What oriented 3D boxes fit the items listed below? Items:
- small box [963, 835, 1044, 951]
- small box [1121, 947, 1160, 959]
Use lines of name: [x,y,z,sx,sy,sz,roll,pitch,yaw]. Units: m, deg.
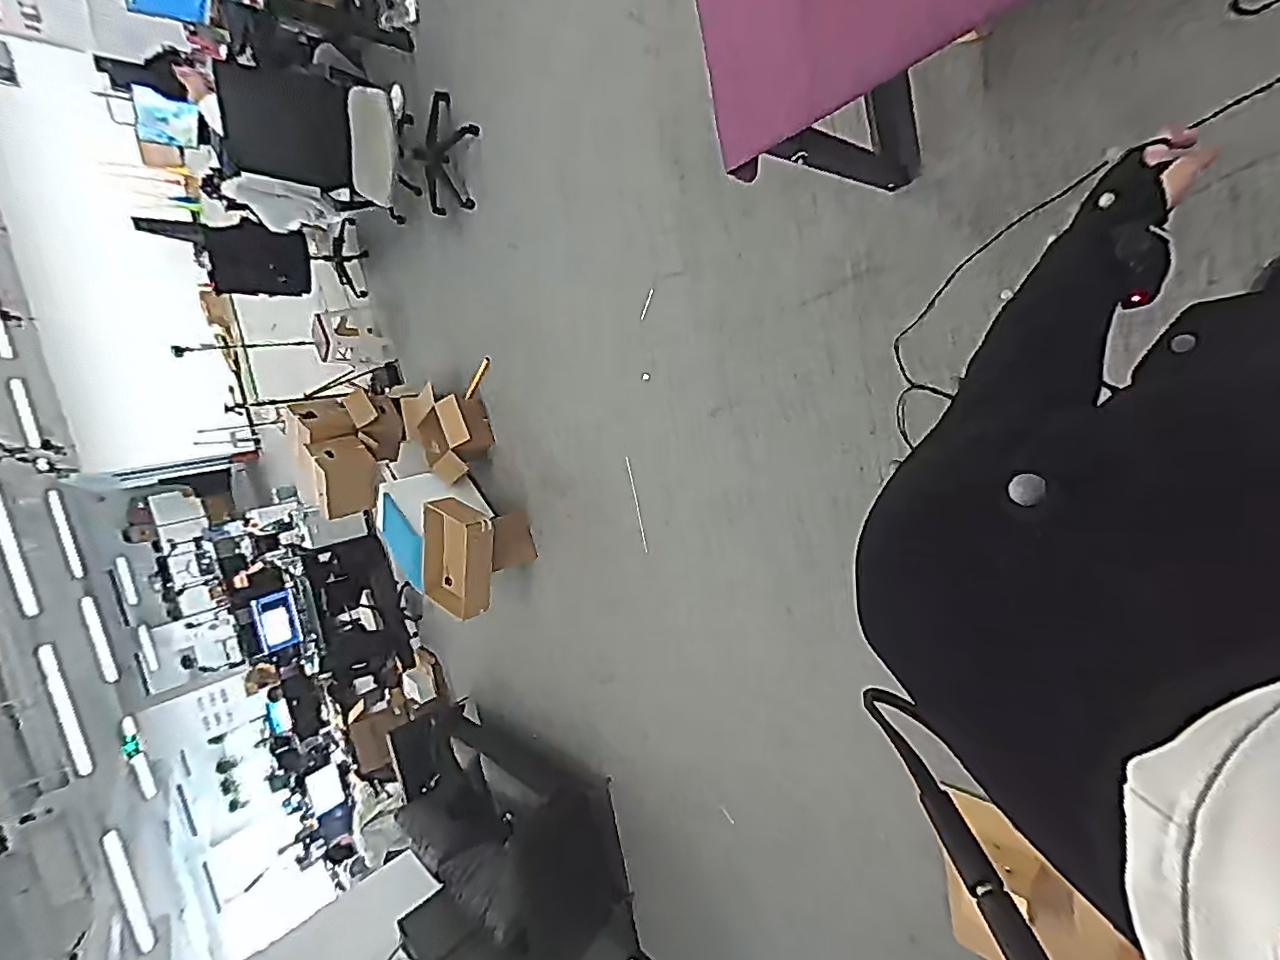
small box: [1.073,1.206,1.596,0.168,0.176,0.179,3,106,48]
small box: [1.328,1.355,1.361,0.168,0.176,0.179,-12,94,50]
